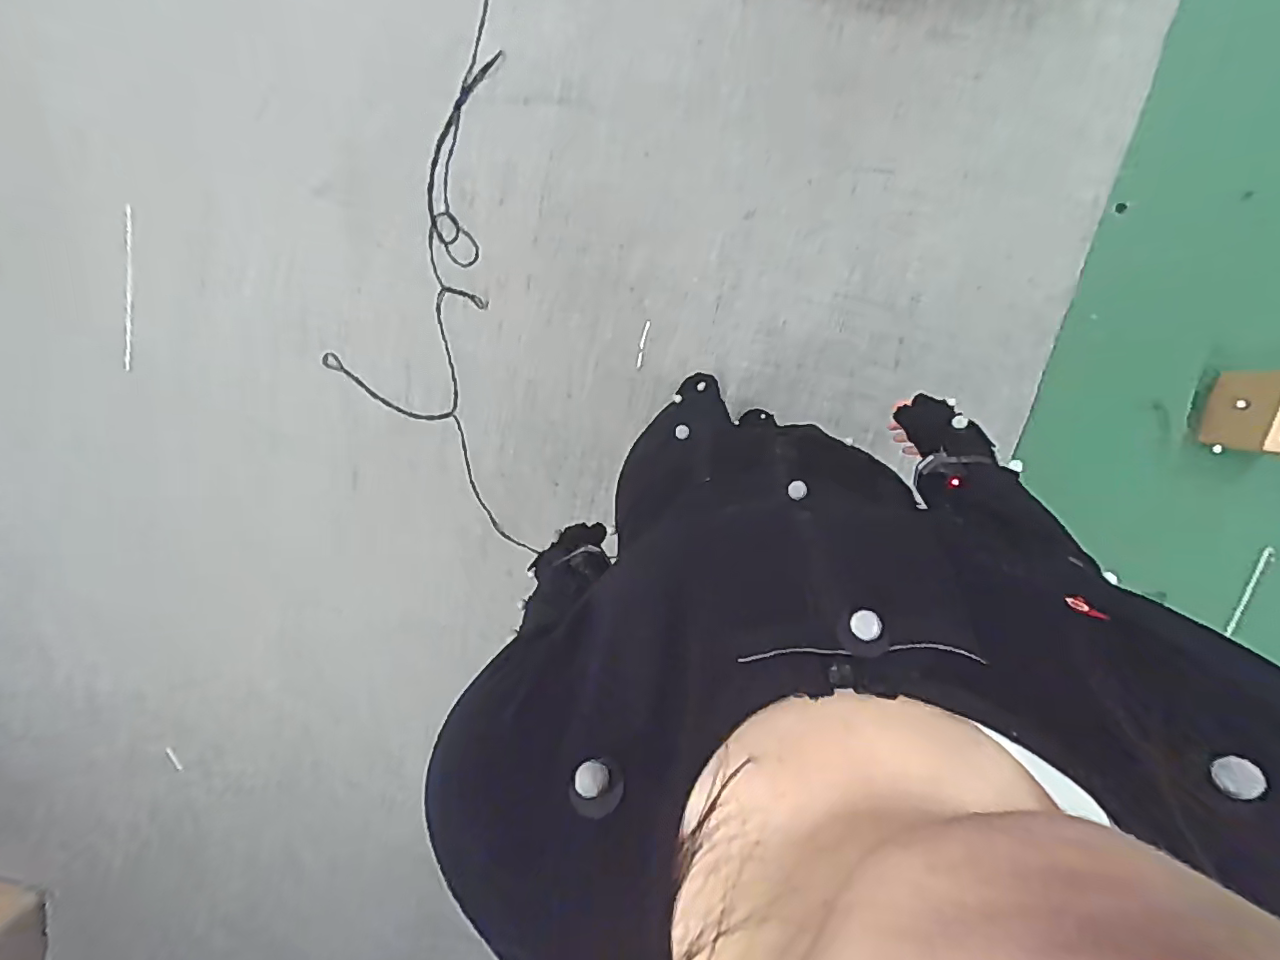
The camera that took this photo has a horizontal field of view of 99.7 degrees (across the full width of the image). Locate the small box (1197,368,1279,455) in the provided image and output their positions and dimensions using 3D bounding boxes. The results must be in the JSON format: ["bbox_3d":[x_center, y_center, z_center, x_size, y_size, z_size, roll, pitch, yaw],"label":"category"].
[{"bbox_3d":[1.436,-0.151,1.222,0.168,0.176,0.179,11,100,4],"label":"small box"}]
